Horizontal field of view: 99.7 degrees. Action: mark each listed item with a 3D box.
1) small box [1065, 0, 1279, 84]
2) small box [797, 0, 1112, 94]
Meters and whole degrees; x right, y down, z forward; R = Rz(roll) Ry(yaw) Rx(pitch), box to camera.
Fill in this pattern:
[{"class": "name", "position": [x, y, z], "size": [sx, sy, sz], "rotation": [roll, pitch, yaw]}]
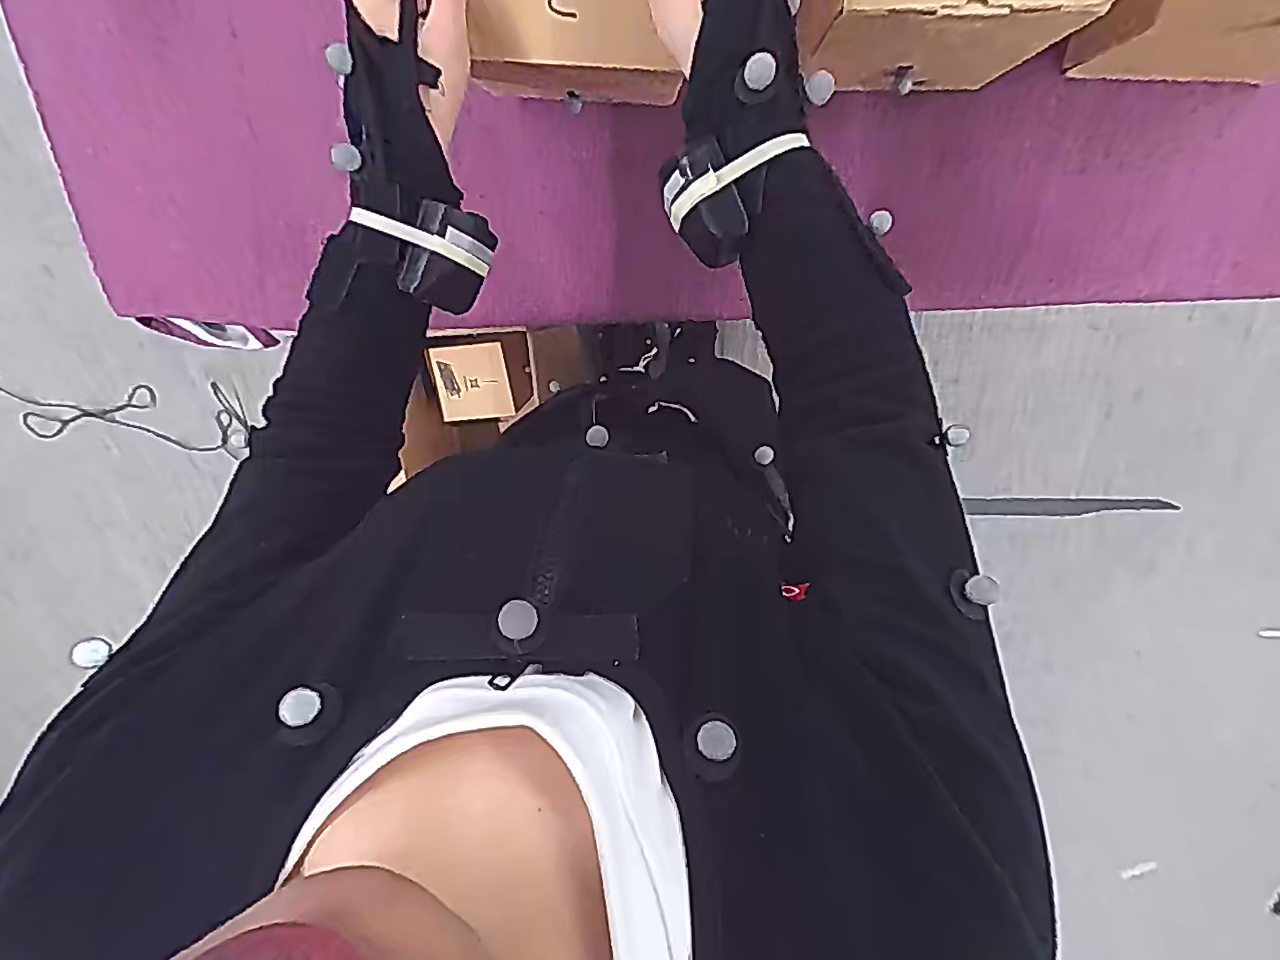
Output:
[{"class": "small box", "position": [0.455, -0.395, 0.368], "size": [0.179, 0.176, 0.168], "rotation": [4, 111, 2]}, {"class": "small box", "position": [0.215, -0.402, 0.380], "size": [0.168, 0.176, 0.179], "rotation": [3, 112, 4]}]
